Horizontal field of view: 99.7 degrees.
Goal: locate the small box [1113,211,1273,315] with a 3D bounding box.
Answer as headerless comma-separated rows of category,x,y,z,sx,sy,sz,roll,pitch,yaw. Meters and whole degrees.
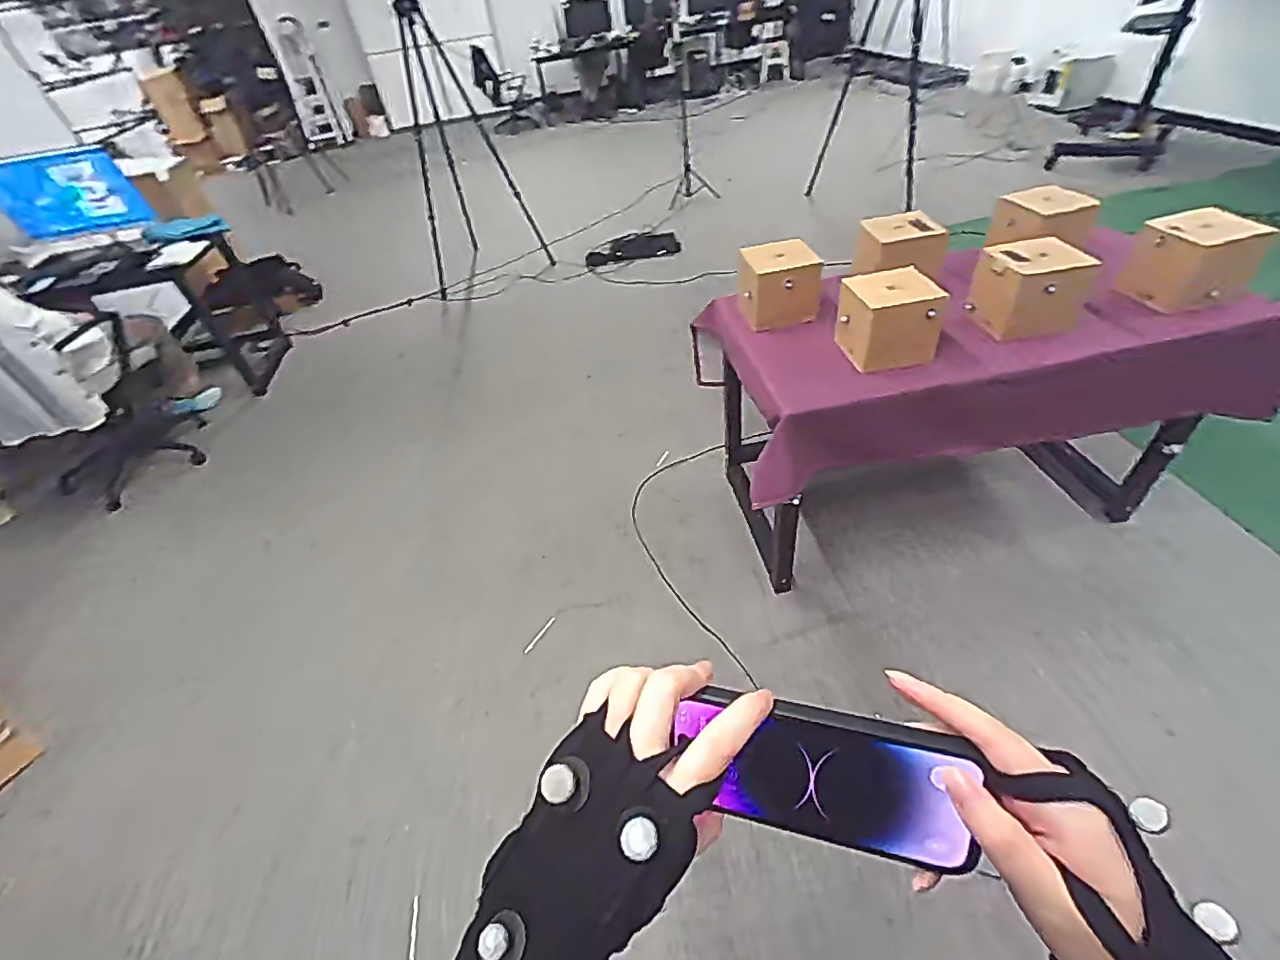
small box,1.311,-0.519,1.300,0.179,0.176,0.168,-12,43,-2

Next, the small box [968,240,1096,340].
small box,0.926,-0.454,1.305,0.179,0.176,0.168,-9,44,0

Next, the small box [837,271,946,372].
small box,0.583,-0.373,1.285,0.179,0.176,0.168,-10,43,-1

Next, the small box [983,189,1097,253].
small box,1.105,-0.692,1.517,0.168,0.176,0.179,-14,44,-3
